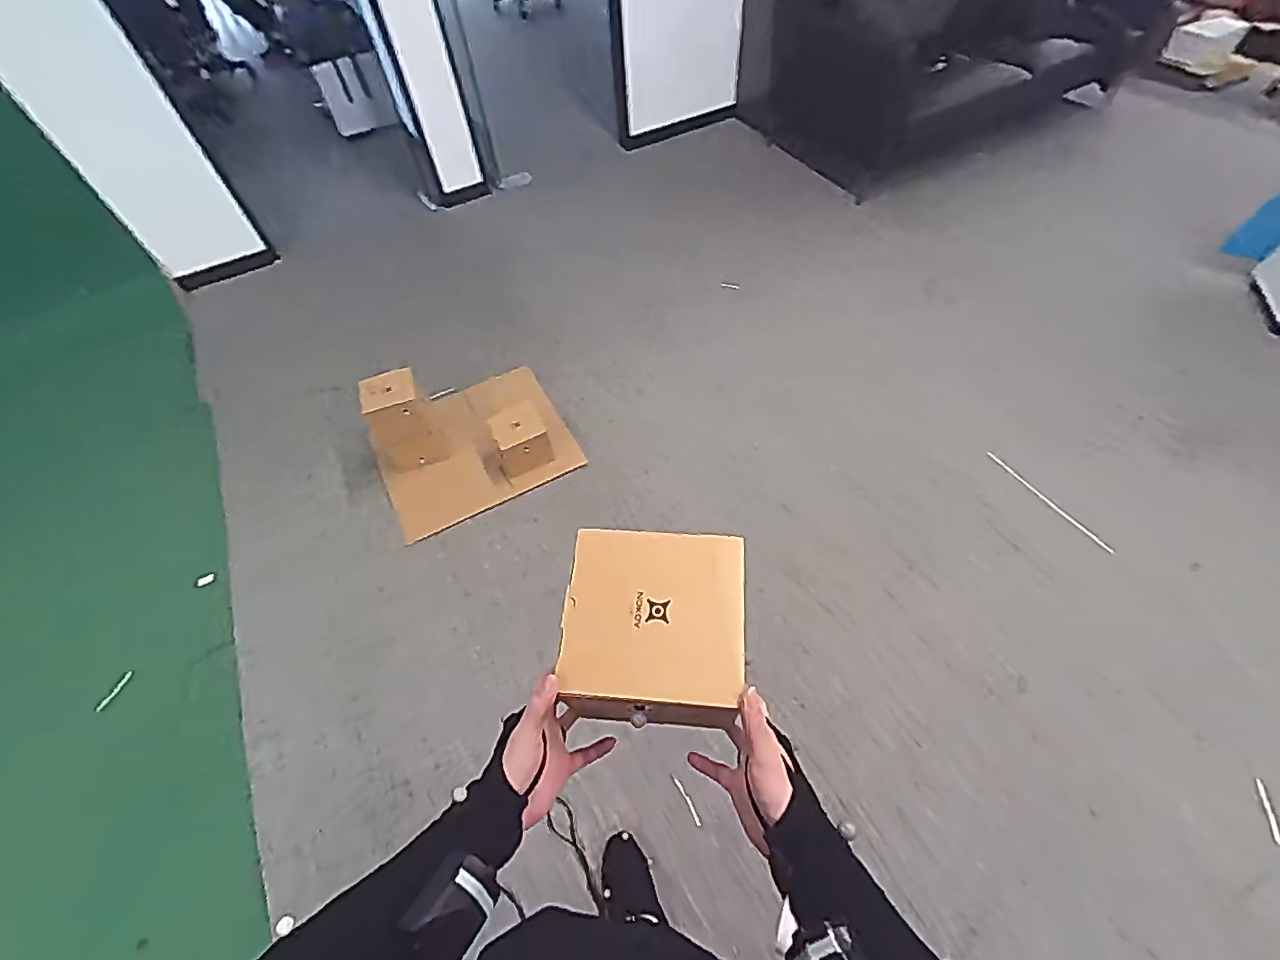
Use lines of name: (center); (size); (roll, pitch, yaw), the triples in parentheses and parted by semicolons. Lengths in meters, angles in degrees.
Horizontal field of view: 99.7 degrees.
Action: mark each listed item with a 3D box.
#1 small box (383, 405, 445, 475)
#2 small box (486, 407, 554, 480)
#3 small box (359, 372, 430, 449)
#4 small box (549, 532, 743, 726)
small box: (-0.836, -0.144, 1.998); (0.179, 0.176, 0.168); (-18, 55, -10)
small box: (-0.432, -0.129, 1.967); (0.179, 0.176, 0.168); (-25, 57, -13)
small box: (-0.838, -0.237, 1.860); (0.179, 0.176, 0.168); (-19, 55, -10)
small box: (0.015, 0.168, 0.590); (0.179, 0.176, 0.168); (1, 60, 6)
